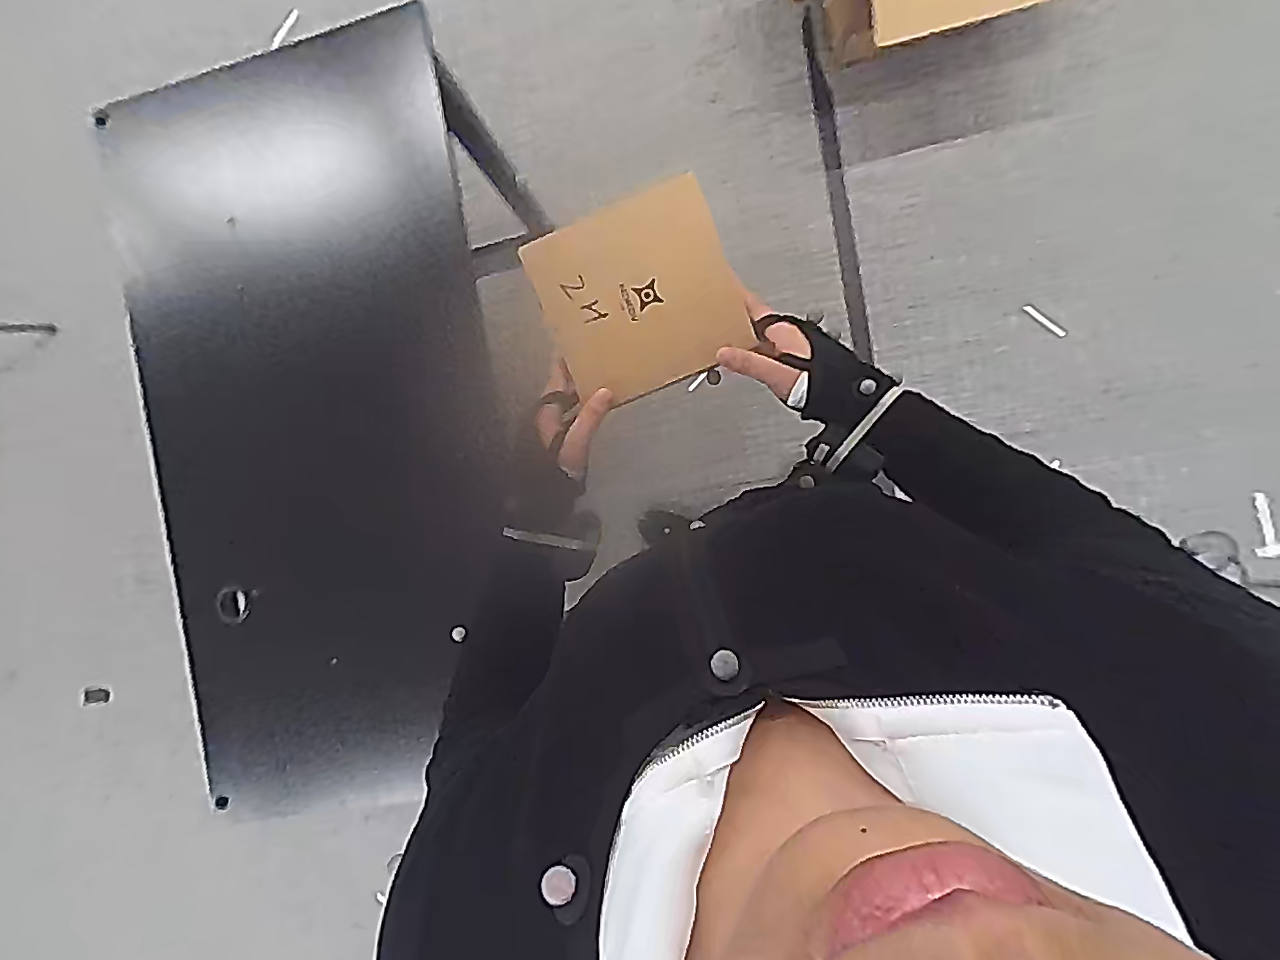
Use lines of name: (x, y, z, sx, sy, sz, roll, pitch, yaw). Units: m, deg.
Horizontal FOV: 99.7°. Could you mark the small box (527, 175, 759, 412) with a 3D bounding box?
small box: (0.005, -0.182, 0.577, 0.179, 0.176, 0.168, -21, 97, 5)
